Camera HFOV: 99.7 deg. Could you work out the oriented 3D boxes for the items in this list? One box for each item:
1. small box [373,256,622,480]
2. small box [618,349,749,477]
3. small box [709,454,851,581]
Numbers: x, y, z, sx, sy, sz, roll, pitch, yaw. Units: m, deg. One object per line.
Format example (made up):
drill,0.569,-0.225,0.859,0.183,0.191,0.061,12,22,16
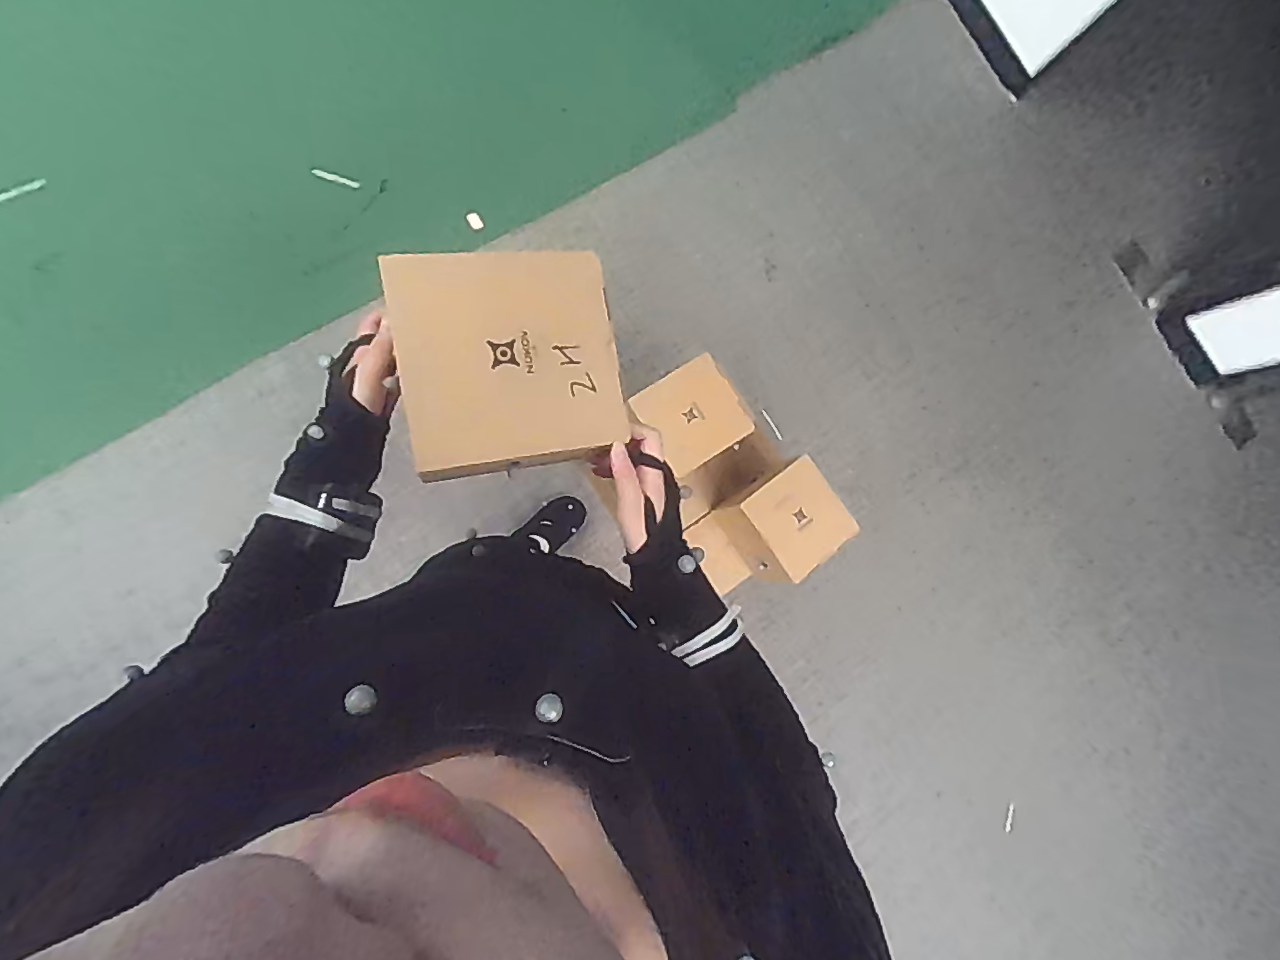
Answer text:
small box,-0.135,-0.094,0.507,0.179,0.176,0.168,-9,92,-21
small box,0.071,-0.117,1.027,0.179,0.176,0.168,-32,93,-11
small box,0.262,0.073,1.050,0.168,0.176,0.179,-34,90,-12
